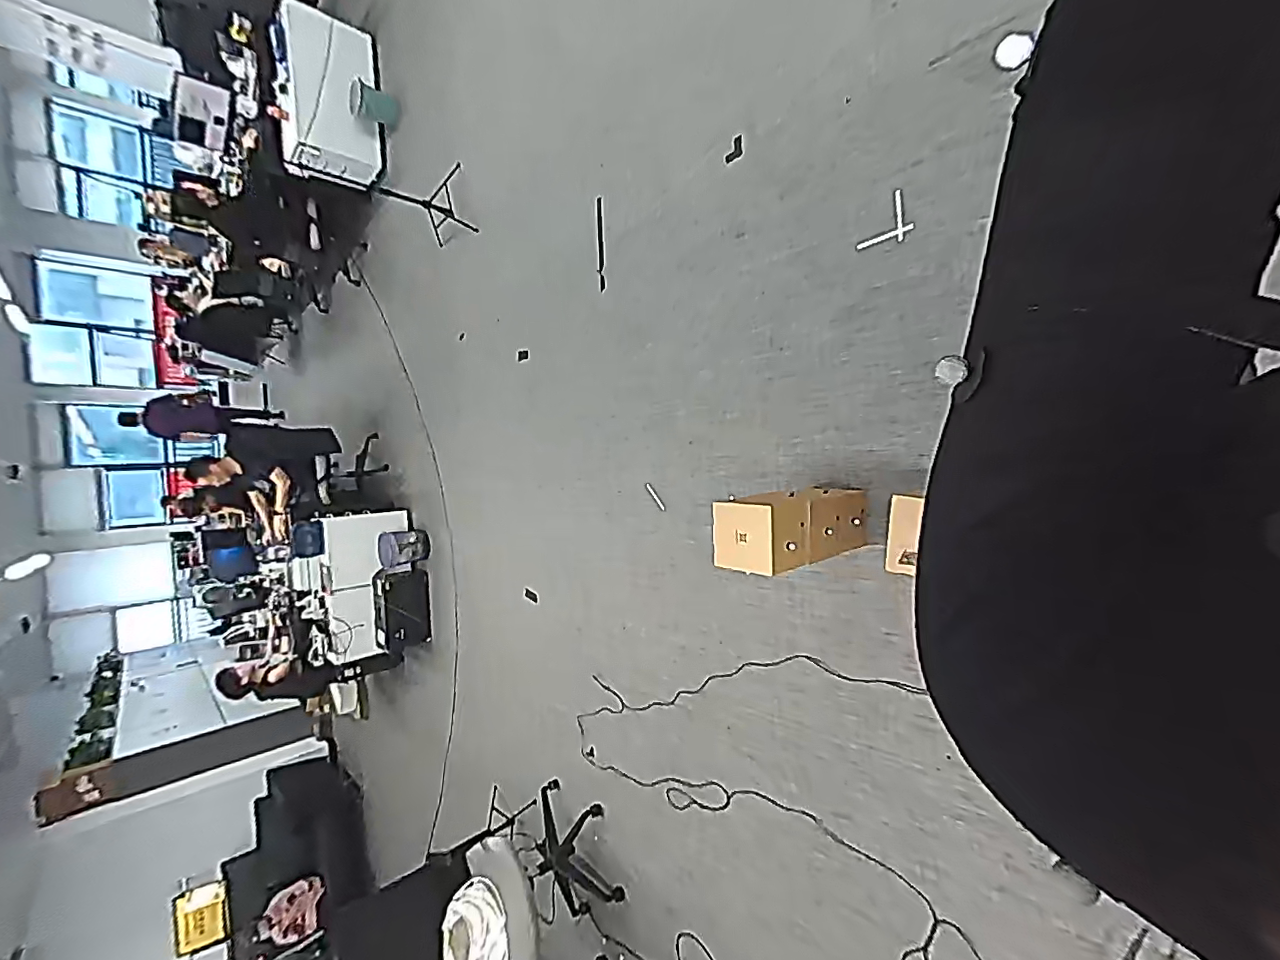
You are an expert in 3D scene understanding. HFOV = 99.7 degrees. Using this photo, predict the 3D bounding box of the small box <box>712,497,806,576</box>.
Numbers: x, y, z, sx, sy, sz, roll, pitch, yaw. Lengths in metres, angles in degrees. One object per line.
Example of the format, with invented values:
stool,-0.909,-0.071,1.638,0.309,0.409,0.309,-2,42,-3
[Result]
small box,0.301,0.133,1.355,0.179,0.176,0.168,2,96,47

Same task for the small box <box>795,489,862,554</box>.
small box,0.535,0.114,1.585,0.179,0.176,0.168,3,95,46

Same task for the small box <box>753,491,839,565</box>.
small box,0.422,0.122,1.465,0.179,0.176,0.168,5,97,47

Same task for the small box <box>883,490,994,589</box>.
small box,0.667,0.124,1.206,0.168,0.176,0.179,10,100,46
